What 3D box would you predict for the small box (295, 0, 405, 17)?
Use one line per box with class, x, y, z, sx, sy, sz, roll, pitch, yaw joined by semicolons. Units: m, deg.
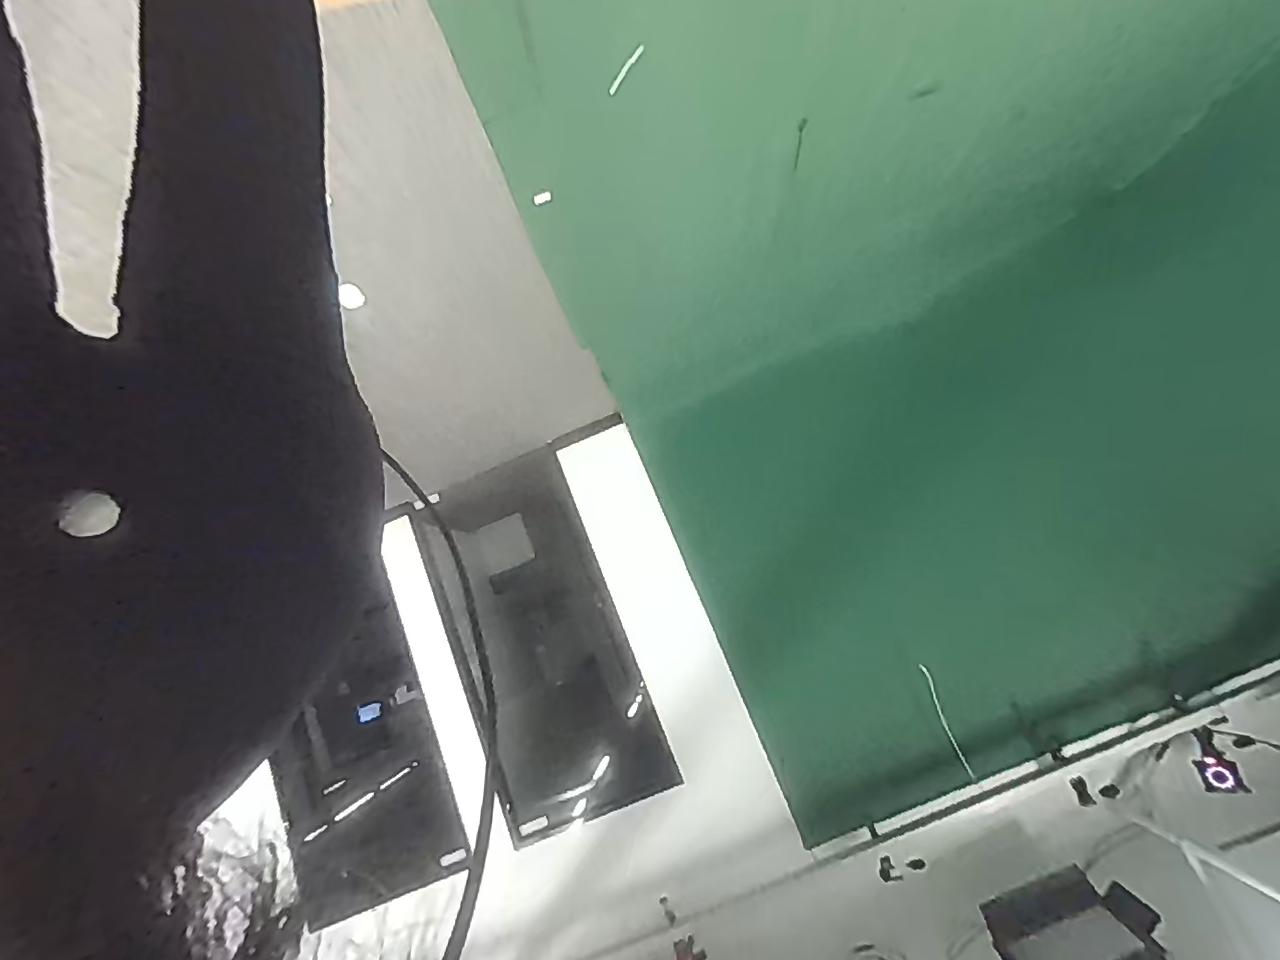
small box;-0.306;-0.615;0.525;0.168;0.176;0.179;-20;168;-10
